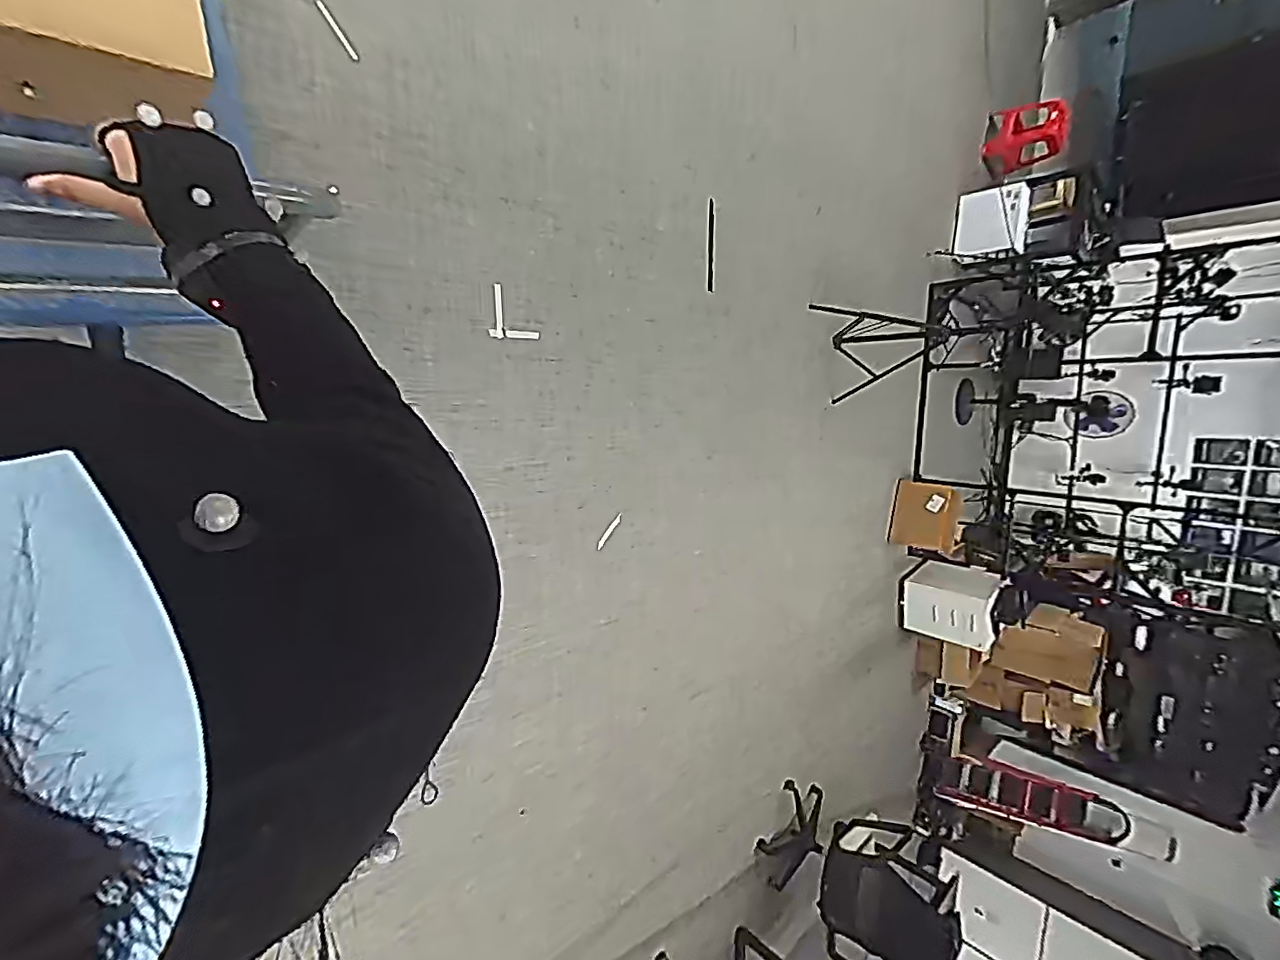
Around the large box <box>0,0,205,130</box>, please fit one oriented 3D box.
[{"bbox_3d":[-0.882,-0.731,0.730,0.408,0.320,0.320,-13,105,-41],"label":"large box"}]
